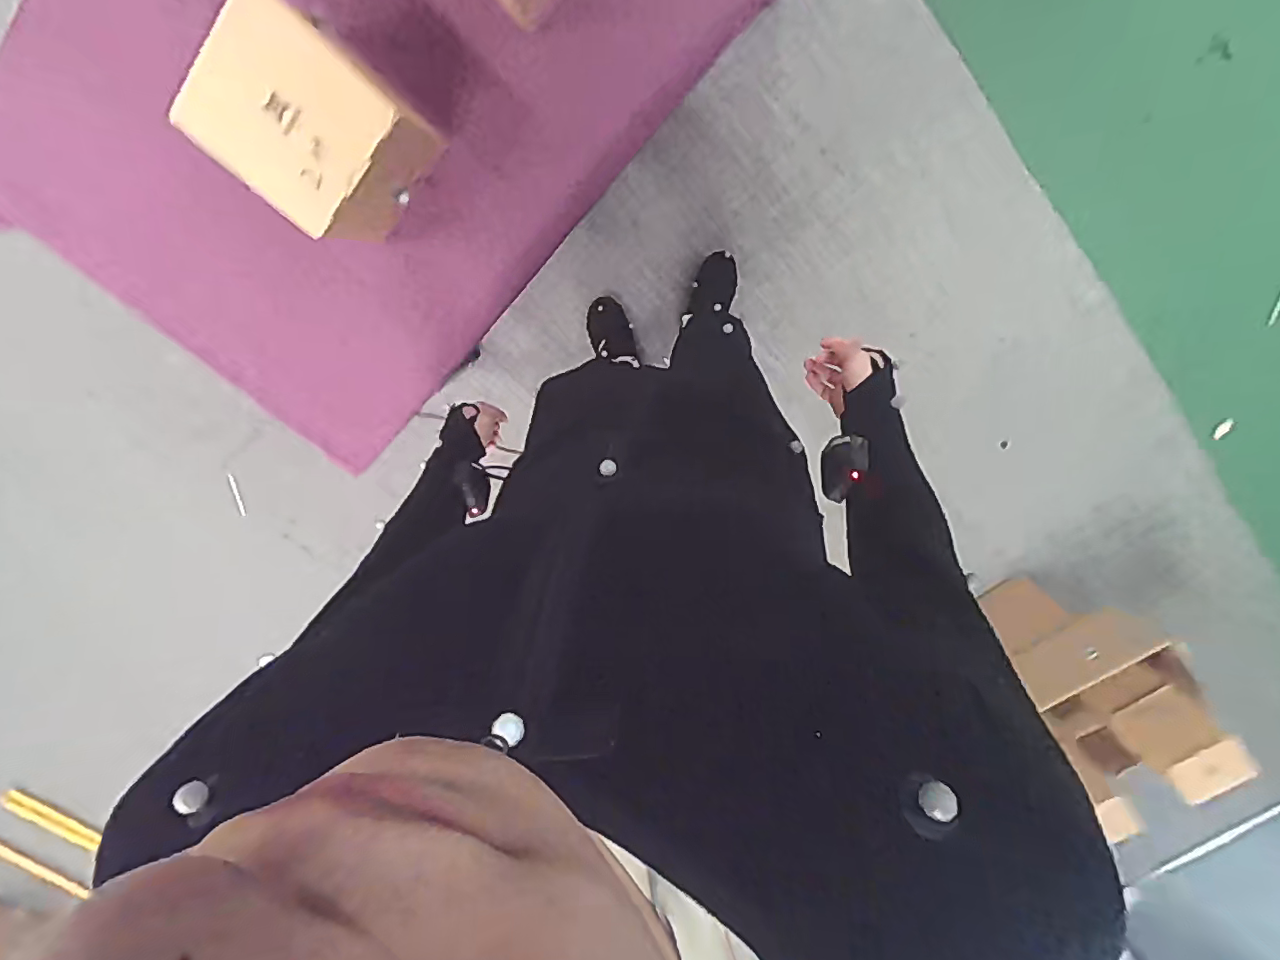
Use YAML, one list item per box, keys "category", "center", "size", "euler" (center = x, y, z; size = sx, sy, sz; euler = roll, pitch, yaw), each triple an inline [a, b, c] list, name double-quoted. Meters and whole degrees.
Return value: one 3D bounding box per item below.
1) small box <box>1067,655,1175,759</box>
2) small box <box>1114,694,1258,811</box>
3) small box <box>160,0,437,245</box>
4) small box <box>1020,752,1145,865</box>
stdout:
- category: "small box"
  center: [1.372, 0.633, 1.524]
  size: [0.179, 0.176, 0.168]
  euler: [-40, 108, 12]
- category: "small box"
  center: [1.373, 0.684, 1.370]
  size: [0.168, 0.176, 0.179]
  euler: [-40, 107, 13]
- category: "small box"
  center: [-0.372, -0.392, 0.624]
  size: [0.179, 0.176, 0.168]
  euler: [40, 105, -16]
- category: "small box"
  center: [1.157, 0.857, 1.428]
  size: [0.168, 0.176, 0.179]
  euler: [-37, 110, 13]
